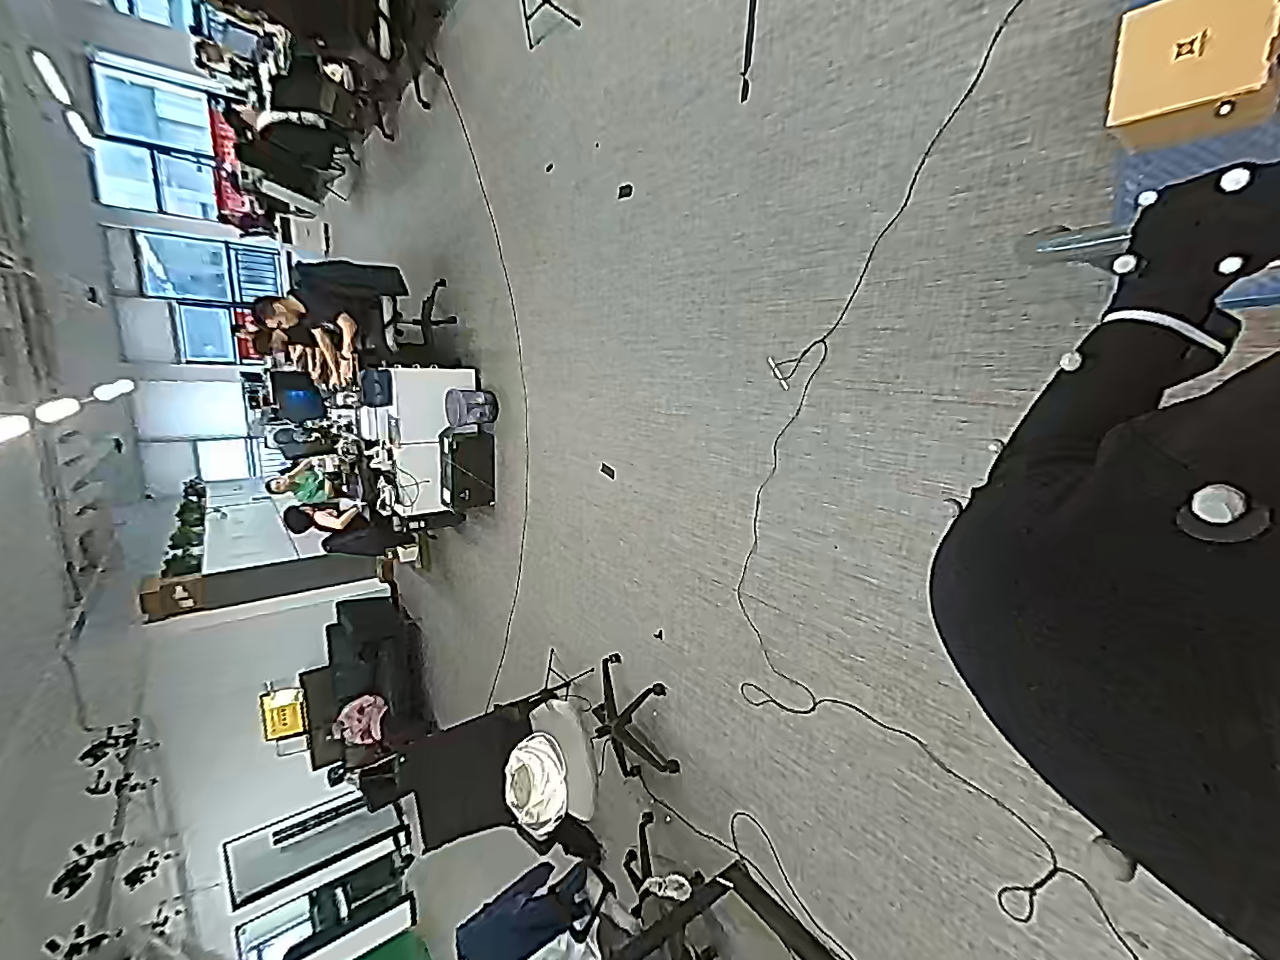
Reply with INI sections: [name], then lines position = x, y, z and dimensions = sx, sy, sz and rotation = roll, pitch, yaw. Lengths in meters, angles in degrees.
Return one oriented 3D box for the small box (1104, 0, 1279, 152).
[small box]
position = 0.877, -0.649, 0.855
dimensions = 0.179, 0.176, 0.168
rotation = 12, 106, 49
